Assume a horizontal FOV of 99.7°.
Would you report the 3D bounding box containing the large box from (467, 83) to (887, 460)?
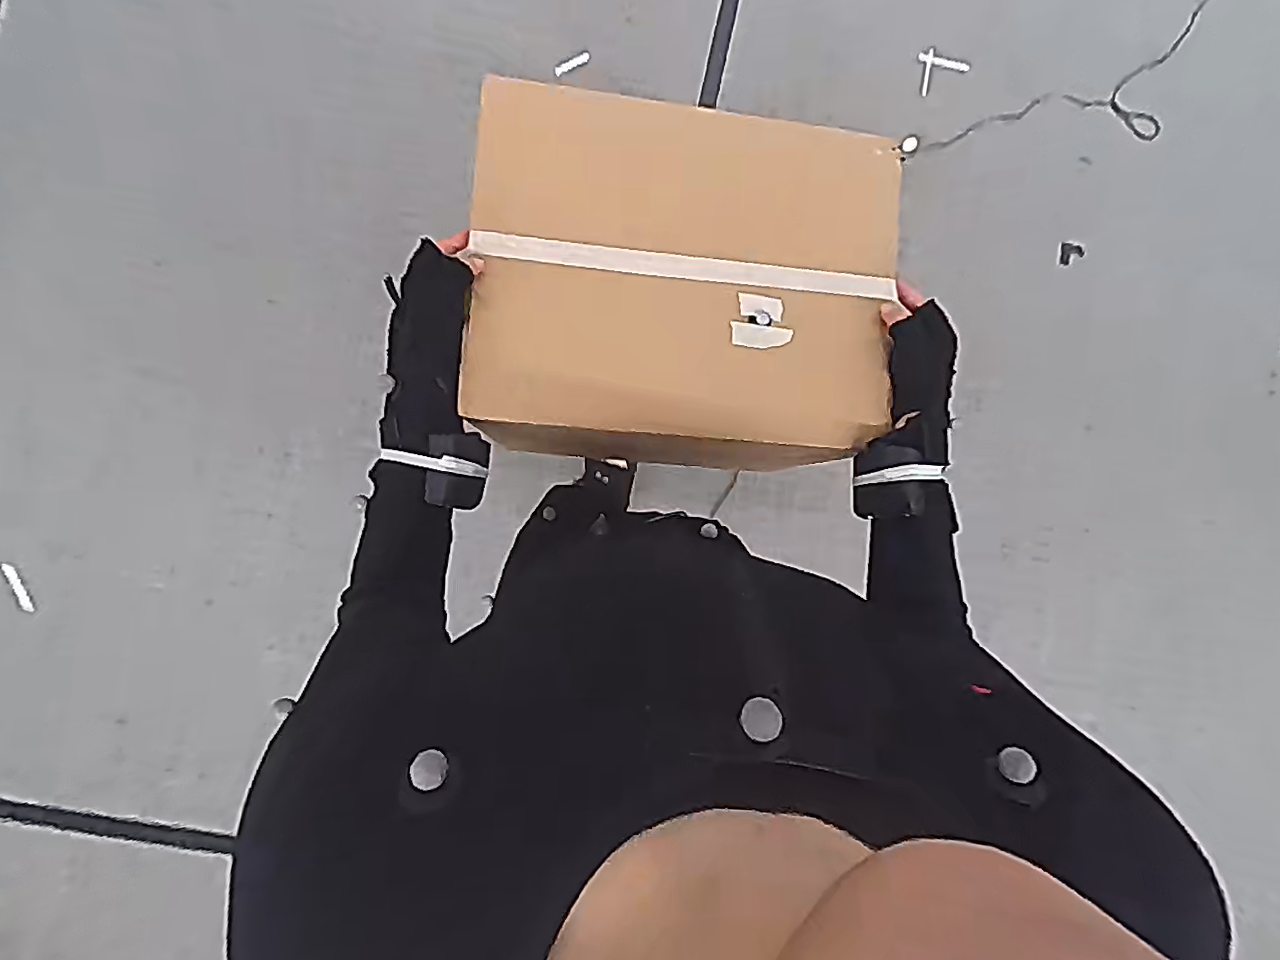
[{"bbox_3d":[0.026,-0.199,0.663,0.408,0.320,0.320,4,88,-8],"label":"large box"}]
